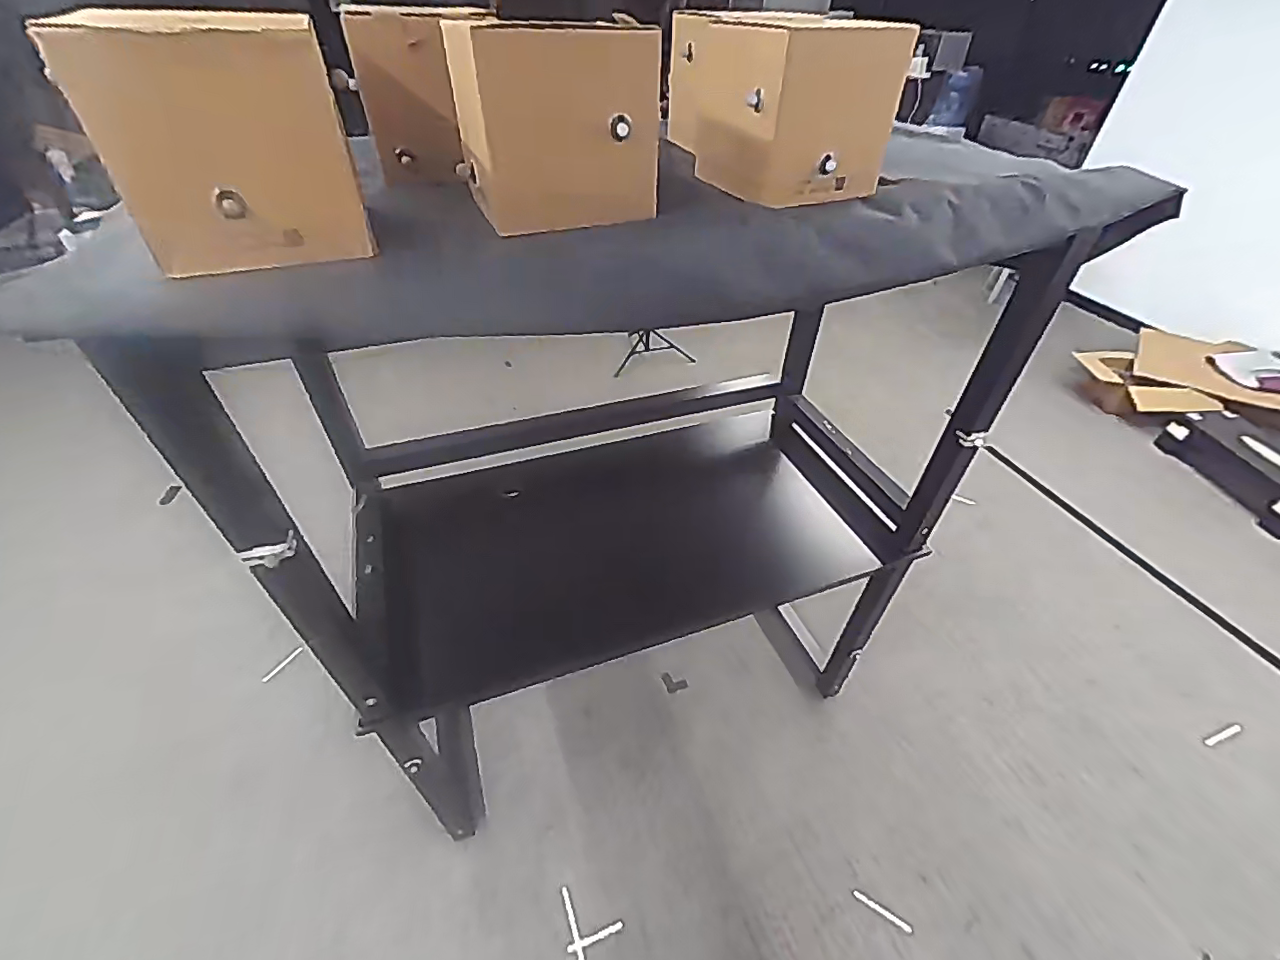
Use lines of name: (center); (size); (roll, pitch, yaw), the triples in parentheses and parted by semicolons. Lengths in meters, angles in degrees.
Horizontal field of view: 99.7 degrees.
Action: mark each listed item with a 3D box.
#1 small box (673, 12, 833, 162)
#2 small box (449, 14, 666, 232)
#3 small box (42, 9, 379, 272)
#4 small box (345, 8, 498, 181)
small box: (0.157, -0.598, 0.823); (0.168, 0.176, 0.179); (-13, 44, -15)
small box: (-0.089, -0.376, 0.572); (0.179, 0.176, 0.168); (-14, 42, -19)
small box: (-0.348, -0.304, 0.483); (0.168, 0.176, 0.179); (-16, 45, -19)
small box: (-0.262, -0.496, 0.699); (0.168, 0.176, 0.179); (-13, 44, -16)
